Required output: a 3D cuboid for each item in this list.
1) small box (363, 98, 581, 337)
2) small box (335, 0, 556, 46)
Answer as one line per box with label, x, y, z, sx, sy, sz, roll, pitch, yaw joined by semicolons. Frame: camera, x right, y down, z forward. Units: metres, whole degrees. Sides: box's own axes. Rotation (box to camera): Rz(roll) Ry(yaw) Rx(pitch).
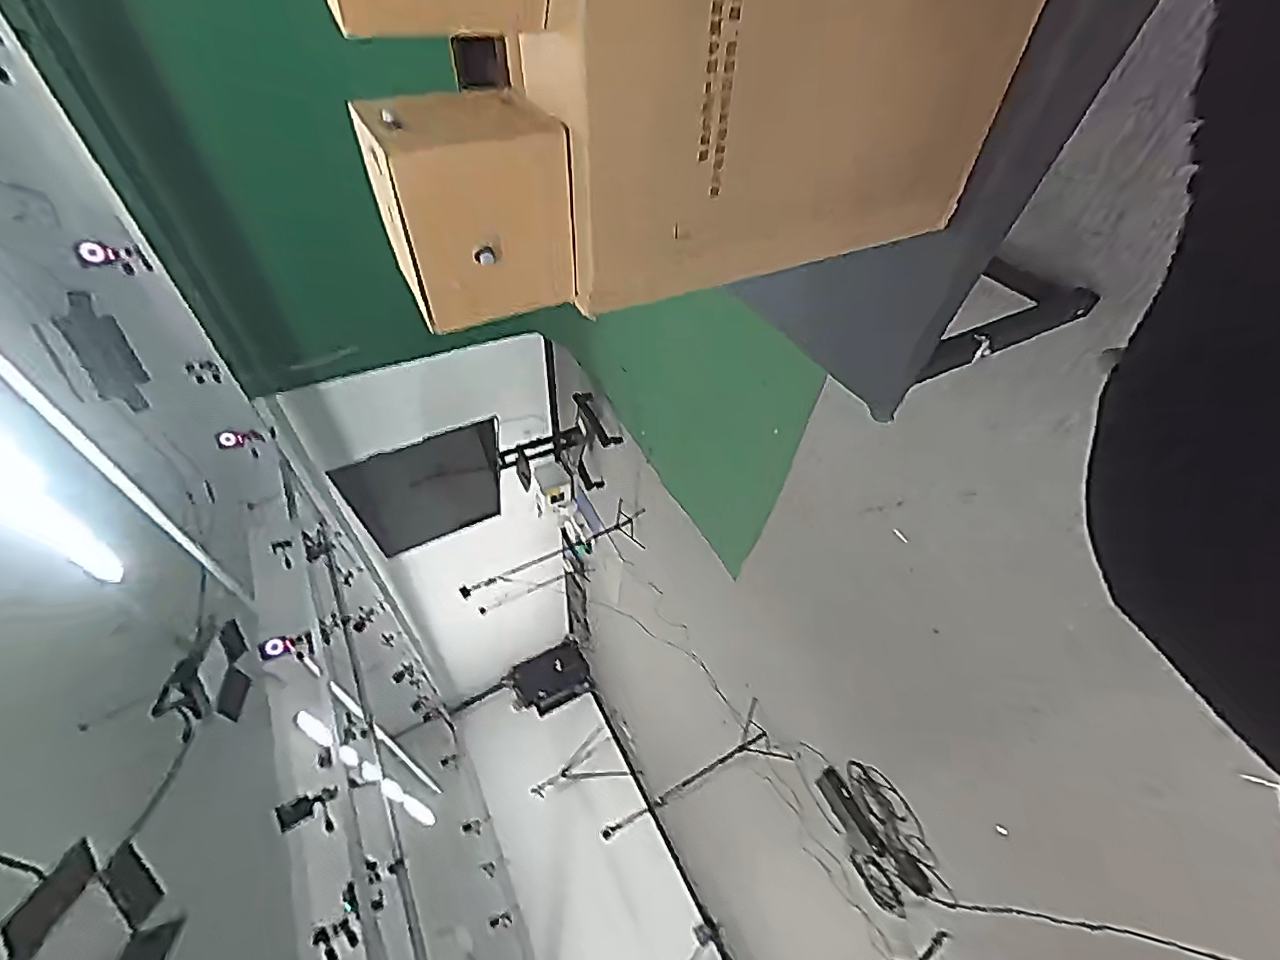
small box;-0.173;-0.292;0.596;0.168;0.176;0.179;52;156;36
small box;-0.165;-0.469;0.406;0.179;0.176;0.168;63;158;14
